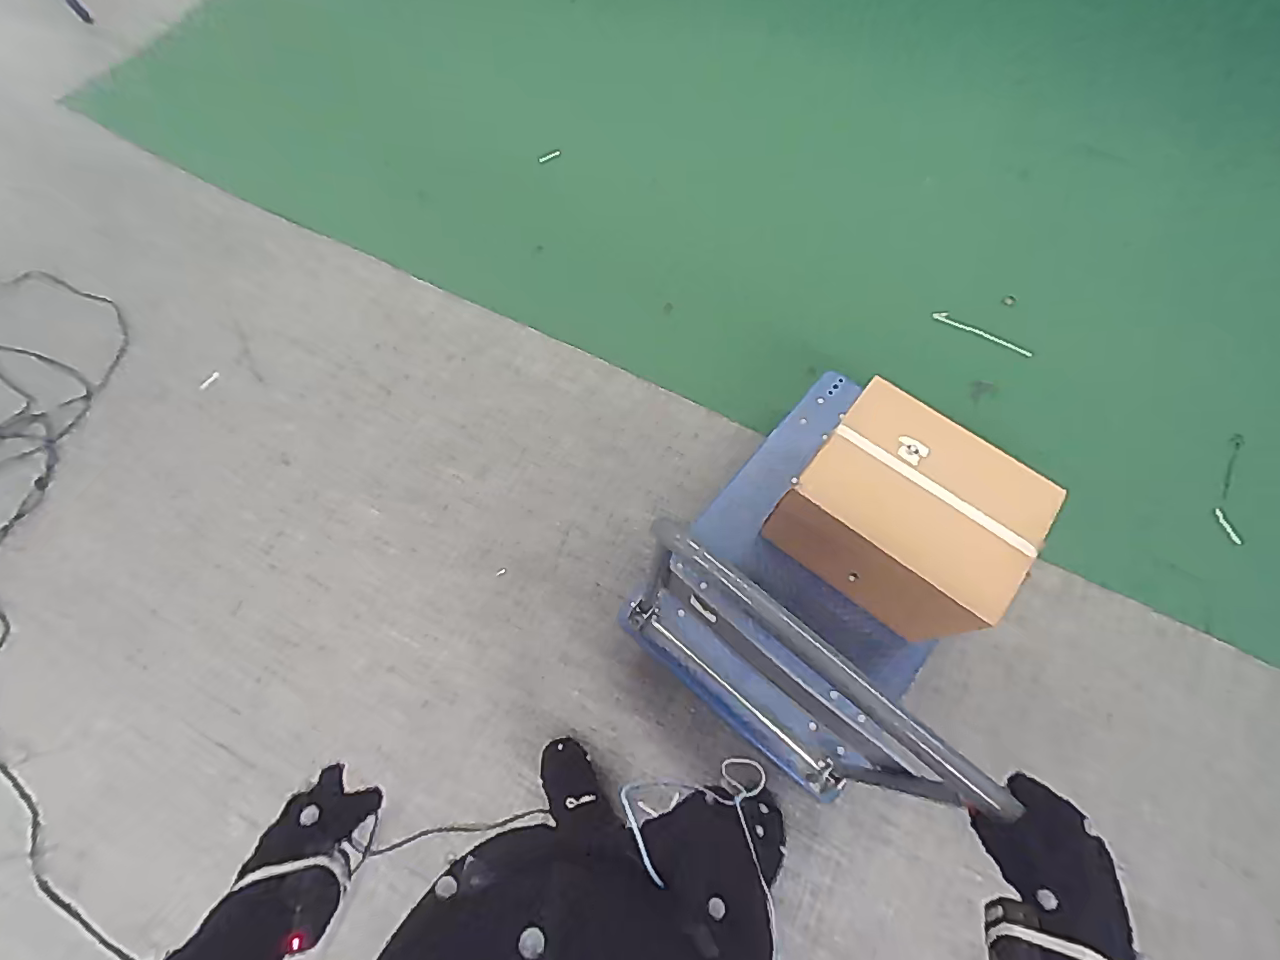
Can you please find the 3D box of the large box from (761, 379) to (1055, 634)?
[{"bbox_3d":[0.530,0.071,1.146,0.408,0.320,0.320,37,72,14],"label":"large box"}]
